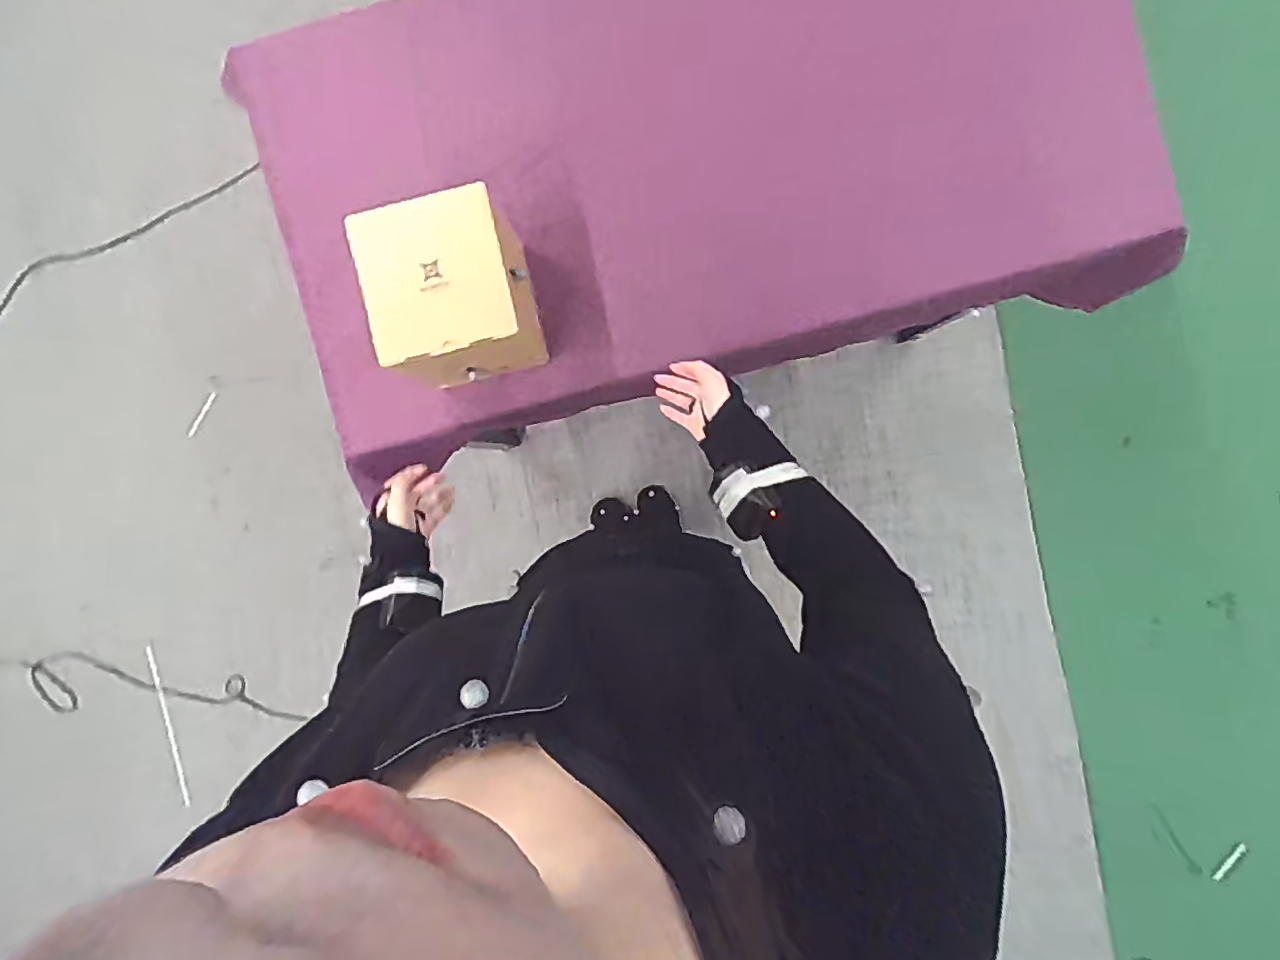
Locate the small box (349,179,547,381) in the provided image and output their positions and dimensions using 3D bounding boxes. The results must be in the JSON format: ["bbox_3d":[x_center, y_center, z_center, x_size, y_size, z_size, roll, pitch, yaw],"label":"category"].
[{"bbox_3d":[-0.229,-0.238,0.687,0.168,0.176,0.179,-14,93,2],"label":"small box"}]
